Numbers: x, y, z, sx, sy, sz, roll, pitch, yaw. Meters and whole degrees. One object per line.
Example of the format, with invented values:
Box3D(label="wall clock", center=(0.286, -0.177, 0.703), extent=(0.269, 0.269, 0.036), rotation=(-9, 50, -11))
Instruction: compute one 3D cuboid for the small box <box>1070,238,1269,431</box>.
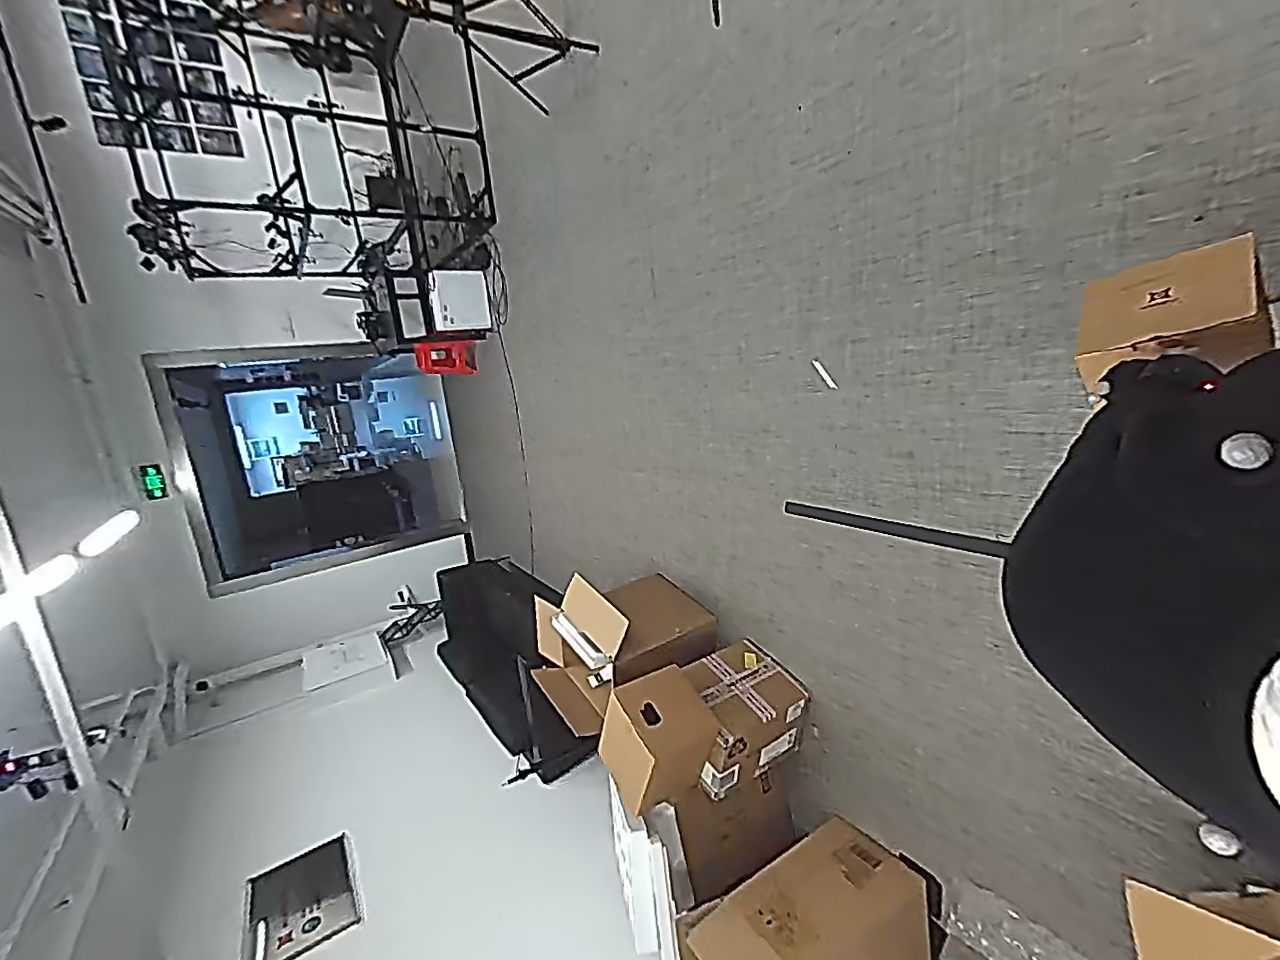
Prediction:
Box3D(label="small box", center=(0.722, -0.182, 0.738), extent=(0.176, 0.179, 0.168), rotation=(47, 150, -25))
